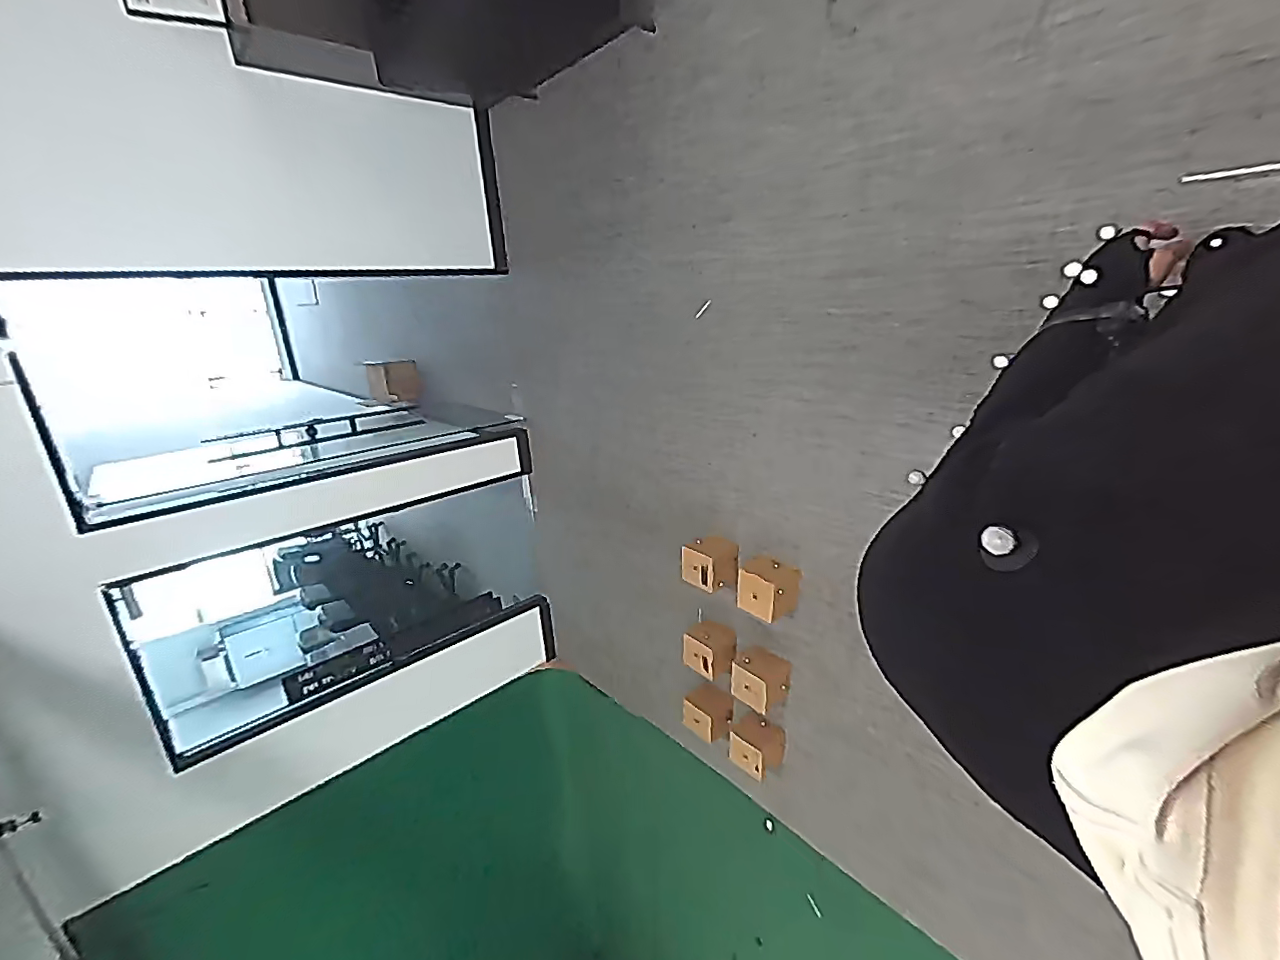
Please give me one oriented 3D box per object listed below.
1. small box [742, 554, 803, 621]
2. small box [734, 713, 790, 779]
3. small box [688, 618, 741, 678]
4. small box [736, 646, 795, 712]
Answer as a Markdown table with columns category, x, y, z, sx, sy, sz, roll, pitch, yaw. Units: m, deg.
| category | x | y | z | sx | sy | sz | roll | pitch | yaw |
| --- | --- | --- | --- | --- | --- | --- | --- | --- | --- |
| small box | 0.515 | 0.412 | 2.101 | 0.168 | 0.176 | 0.179 | 20 | 119 | 45 |
| small box | 0.536 | 1.156 | 2.373 | 0.179 | 0.176 | 0.168 | 19 | 119 | 47 |
| small box | 0.339 | 0.754 | 2.452 | 0.179 | 0.176 | 0.168 | 20 | 119 | 46 |
| small box | 0.522 | 0.819 | 2.253 | 0.179 | 0.176 | 0.168 | 19 | 119 | 46 |
